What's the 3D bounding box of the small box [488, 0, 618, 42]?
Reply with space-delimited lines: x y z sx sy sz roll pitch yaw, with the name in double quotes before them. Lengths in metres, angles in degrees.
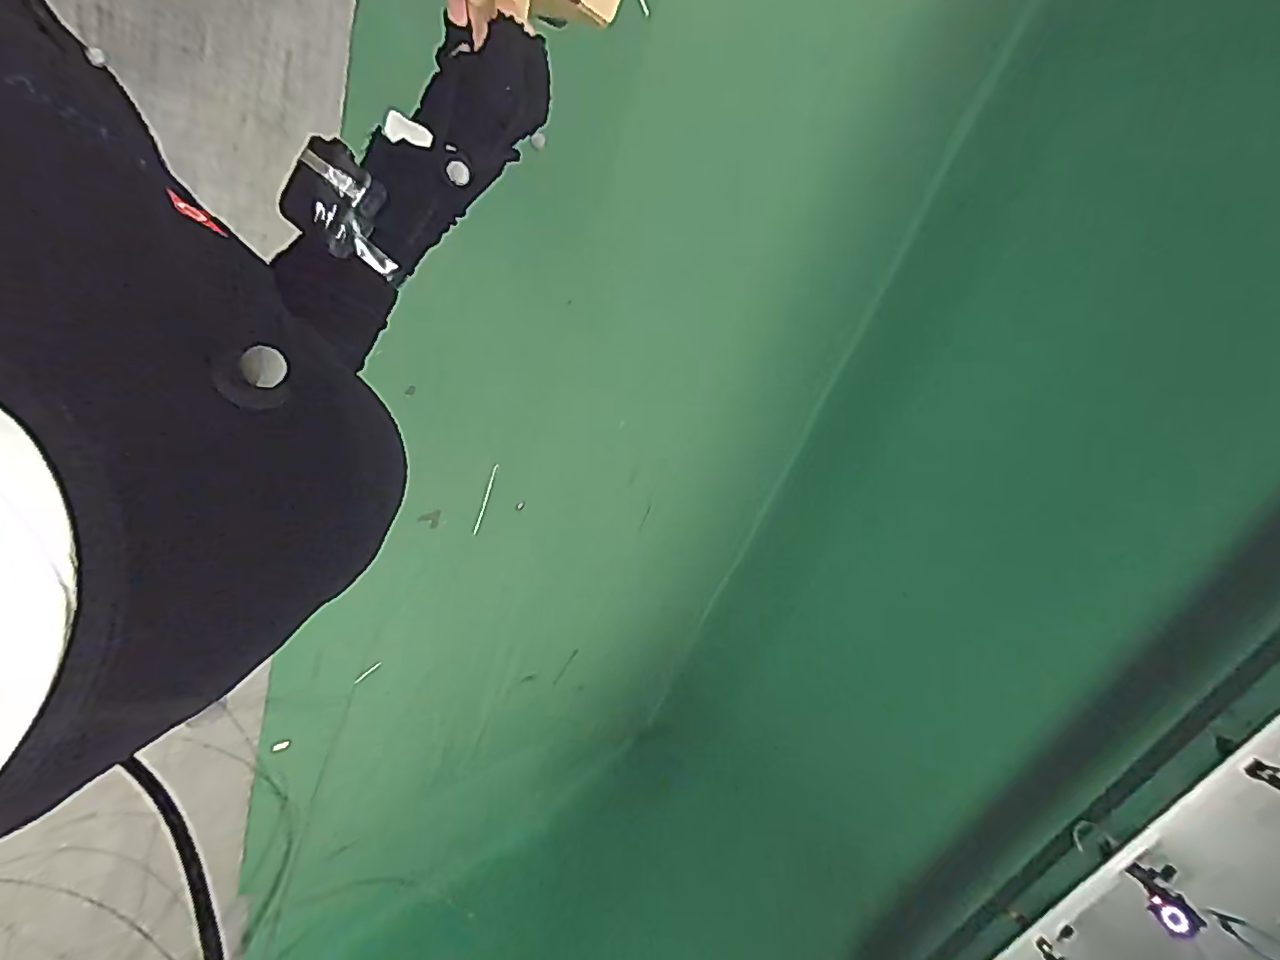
"small box" -0.097 -0.455 0.372 0.168 0.176 0.179 -2 128 -46
